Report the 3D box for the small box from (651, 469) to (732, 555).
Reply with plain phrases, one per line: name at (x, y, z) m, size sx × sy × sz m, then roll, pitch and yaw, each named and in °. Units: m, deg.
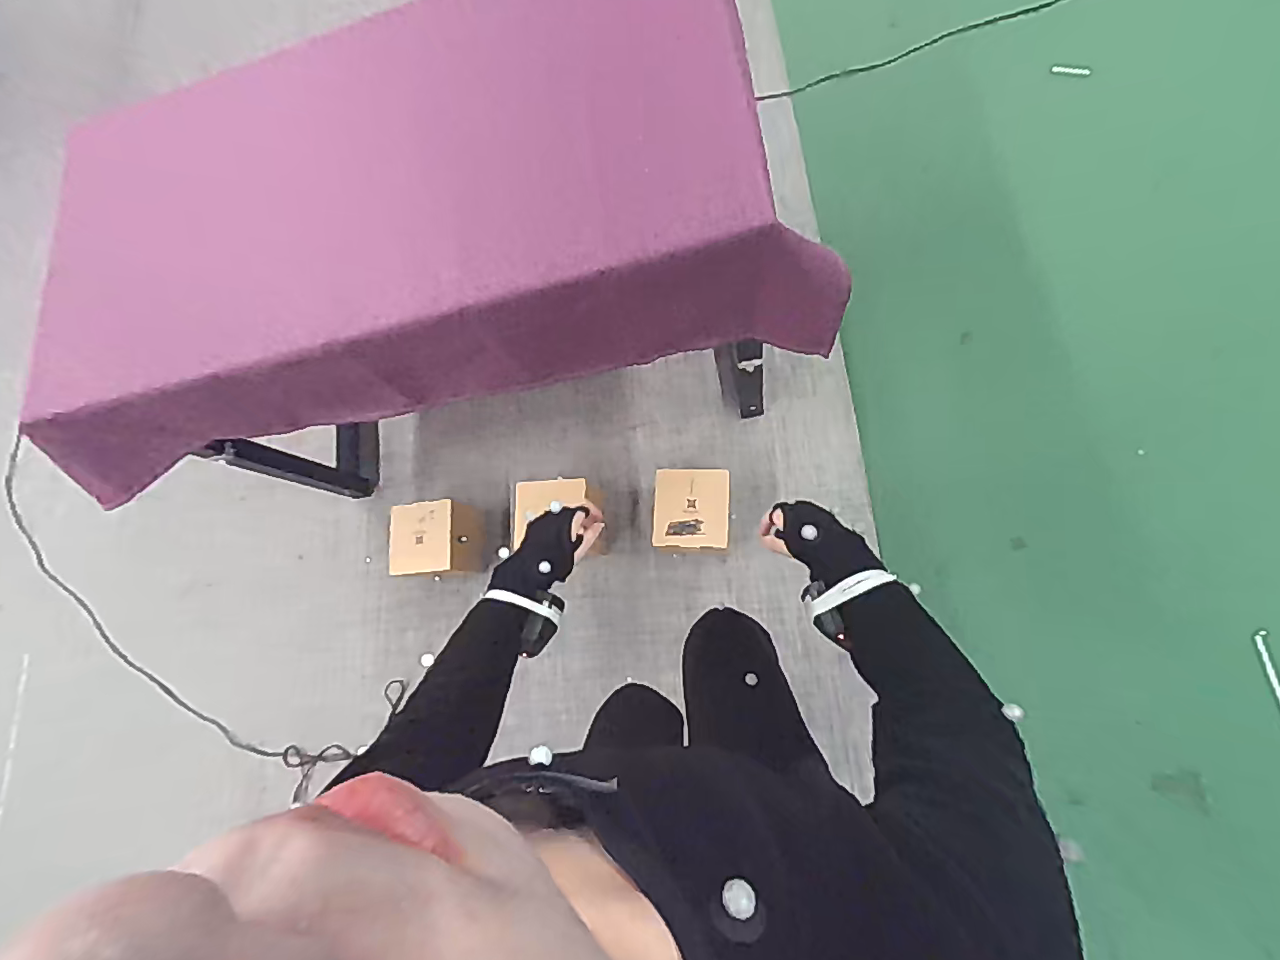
small box at (0.127, 0.080, 1.263) m, size 0.168 × 0.176 × 0.179 m, roll 1°, pitch 76°, yaw 13°
